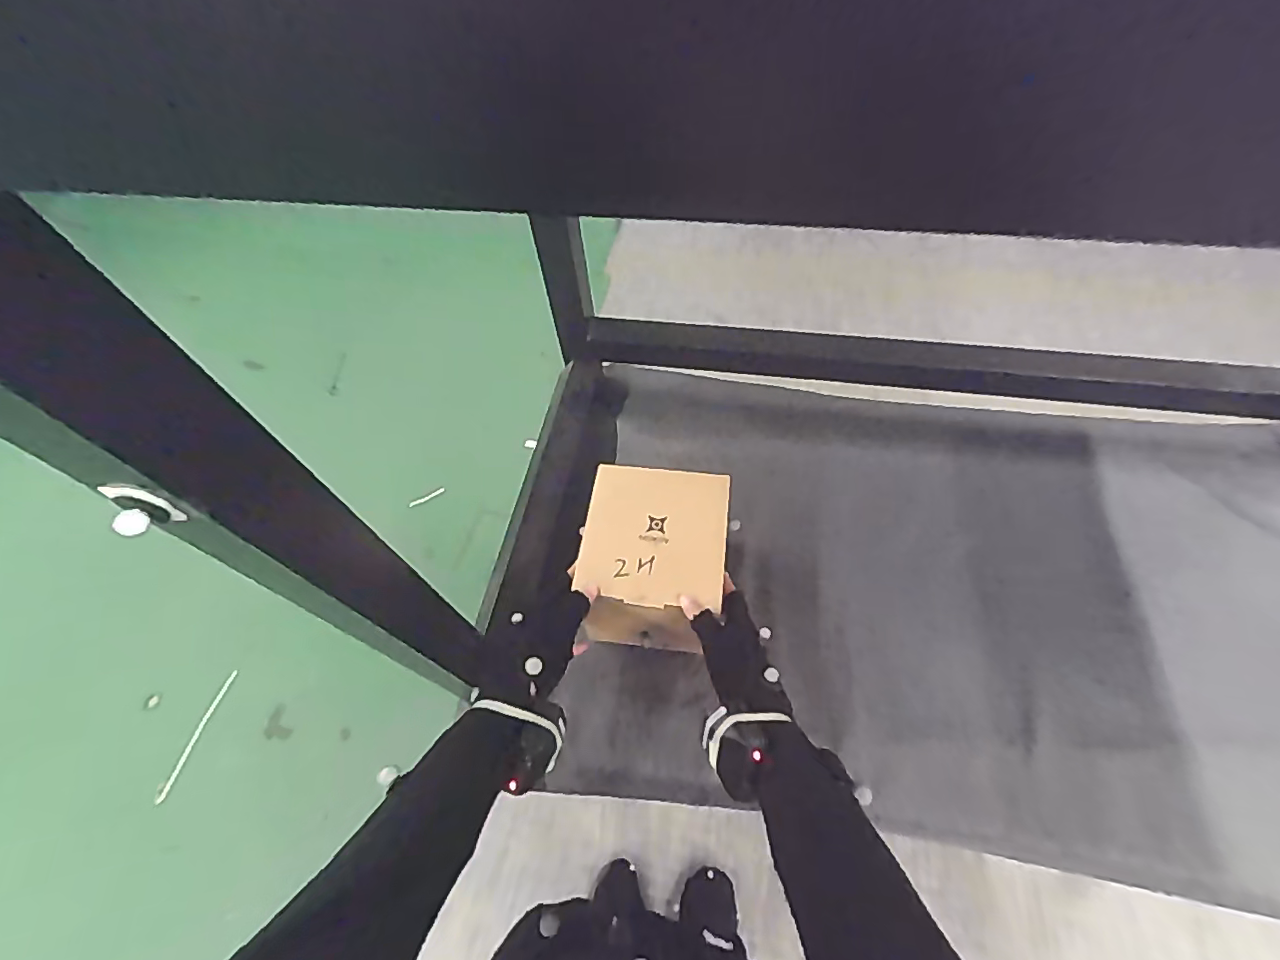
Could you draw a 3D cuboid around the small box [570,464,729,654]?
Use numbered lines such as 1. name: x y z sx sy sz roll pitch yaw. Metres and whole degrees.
1. small box: 0.020 0.103 0.689 0.168 0.176 0.179 5 57 8
